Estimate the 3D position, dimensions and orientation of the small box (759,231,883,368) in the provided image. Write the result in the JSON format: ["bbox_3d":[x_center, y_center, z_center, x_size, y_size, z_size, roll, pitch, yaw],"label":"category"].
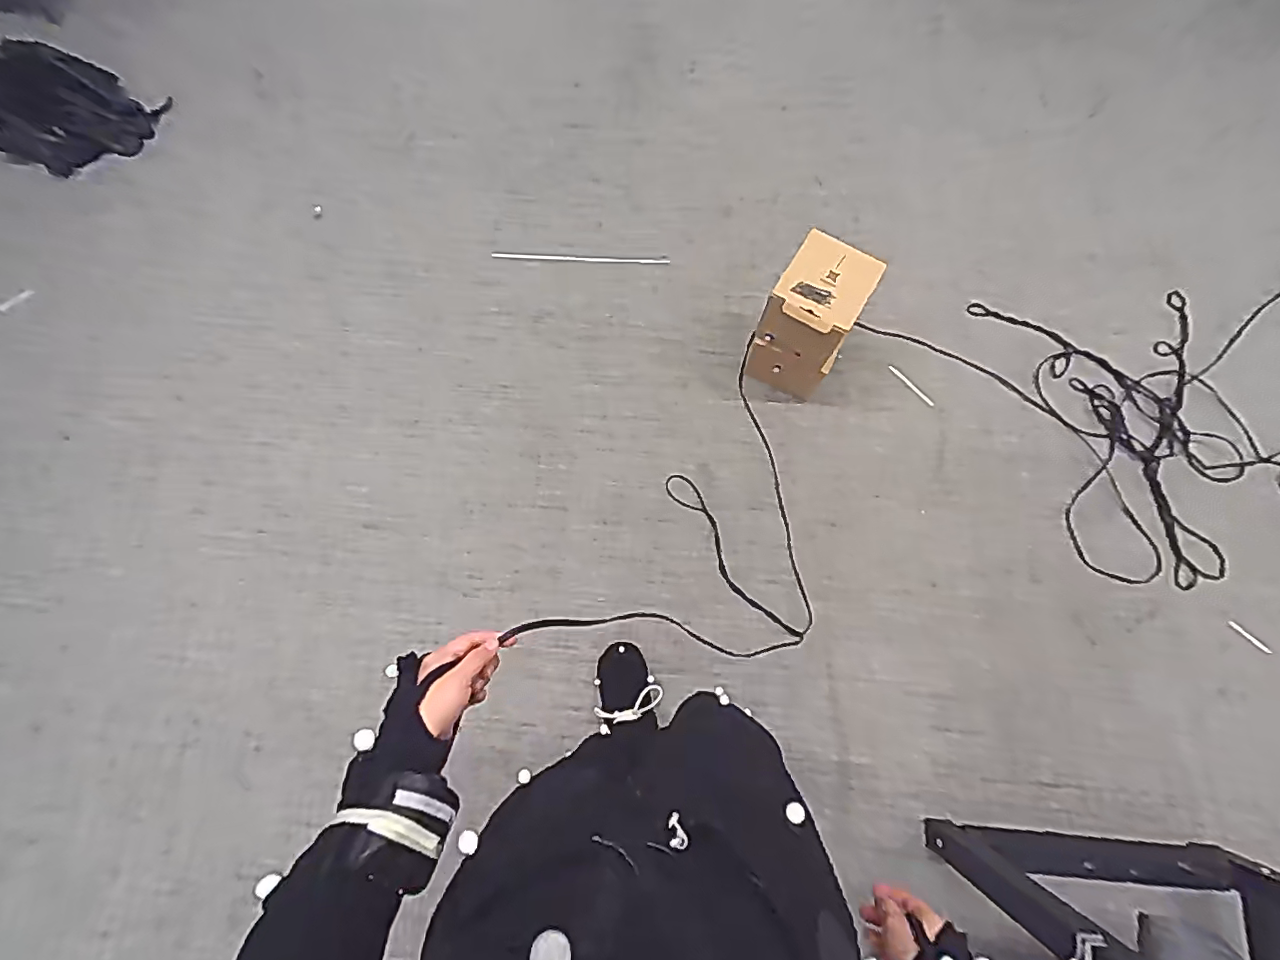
[{"bbox_3d":[0.364,-0.365,1.125,0.168,0.176,0.179,31,78,8],"label":"small box"}]

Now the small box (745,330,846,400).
[{"bbox_3d":[0.367,-0.314,1.282,0.179,0.176,0.168,26,78,8],"label":"small box"}]
